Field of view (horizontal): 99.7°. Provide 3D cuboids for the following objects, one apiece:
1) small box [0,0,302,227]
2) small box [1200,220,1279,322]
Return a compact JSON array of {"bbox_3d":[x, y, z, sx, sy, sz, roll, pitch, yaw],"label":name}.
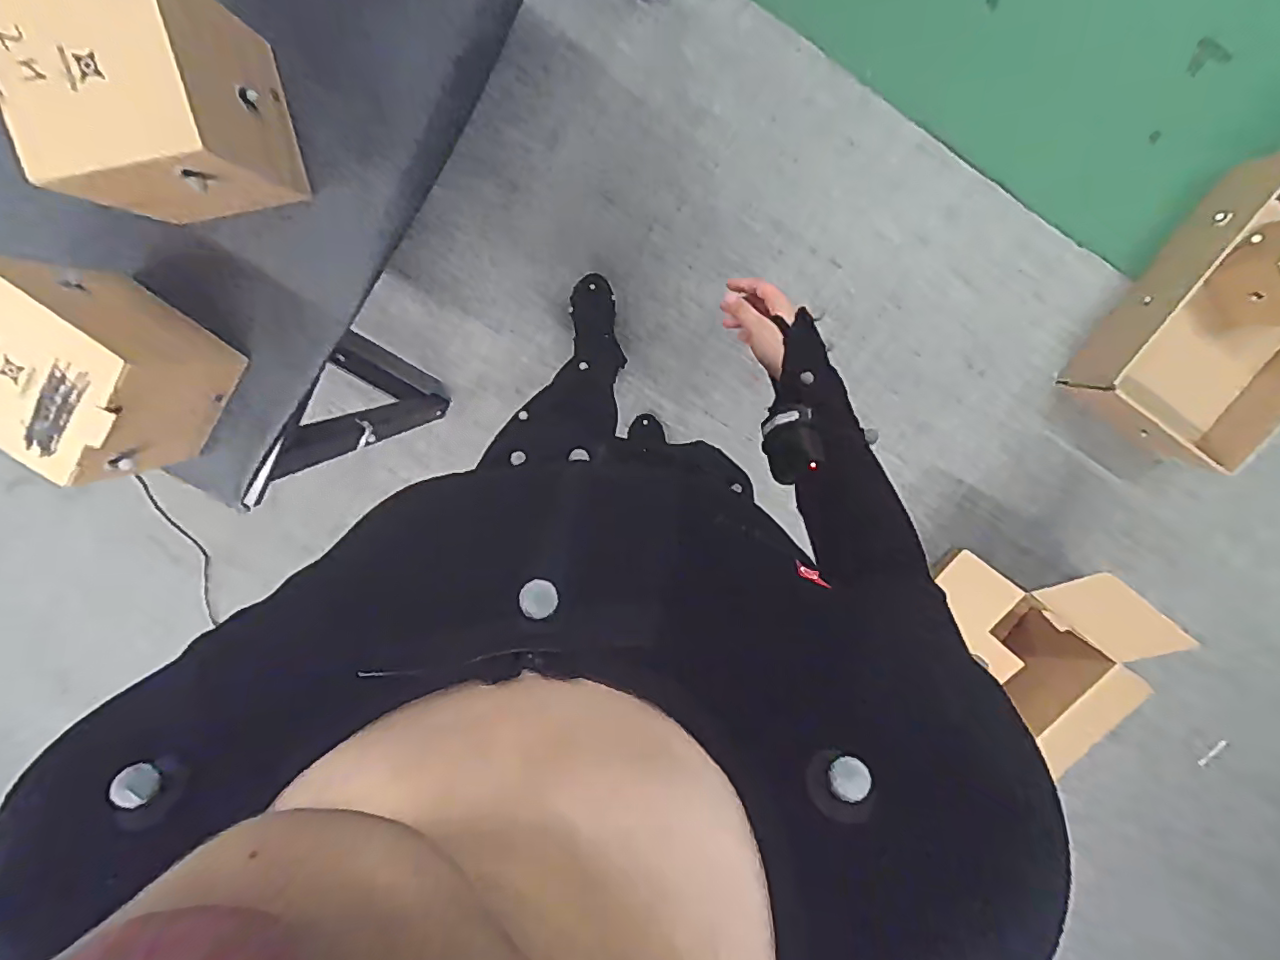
[{"bbox_3d":[-0.488,-0.377,0.557,0.179,0.176,0.168,-9,103,3],"label":"small box"},{"bbox_3d":[1.447,-0.473,1.214,0.168,0.176,0.179,-41,101,11],"label":"small box"}]
